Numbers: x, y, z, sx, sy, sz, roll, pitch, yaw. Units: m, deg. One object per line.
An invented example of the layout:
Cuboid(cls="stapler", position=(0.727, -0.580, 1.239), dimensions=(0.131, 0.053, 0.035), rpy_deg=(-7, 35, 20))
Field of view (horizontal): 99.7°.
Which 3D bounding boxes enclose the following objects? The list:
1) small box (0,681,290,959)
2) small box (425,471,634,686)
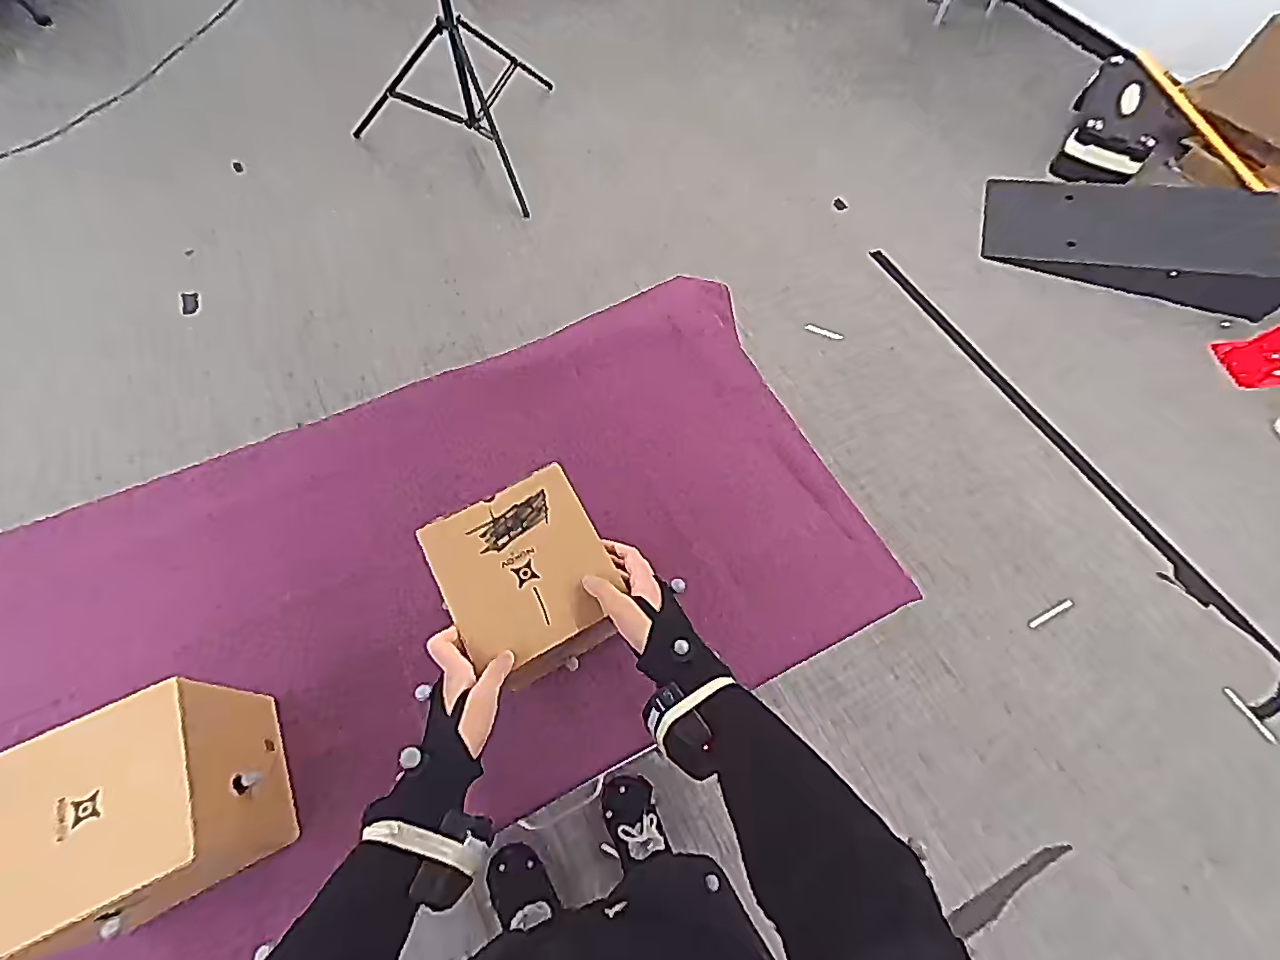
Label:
Cuboid(cls="small box", position=(-0.485, 0.325, 0.542), dimensions=(0.179, 0.176, 0.168), rpy_deg=(-24, 66, -13))
Cuboid(cls="small box", position=(-0.120, 0.123, 0.633), dimensions=(0.168, 0.176, 0.179), rpy_deg=(-27, 71, -11))
